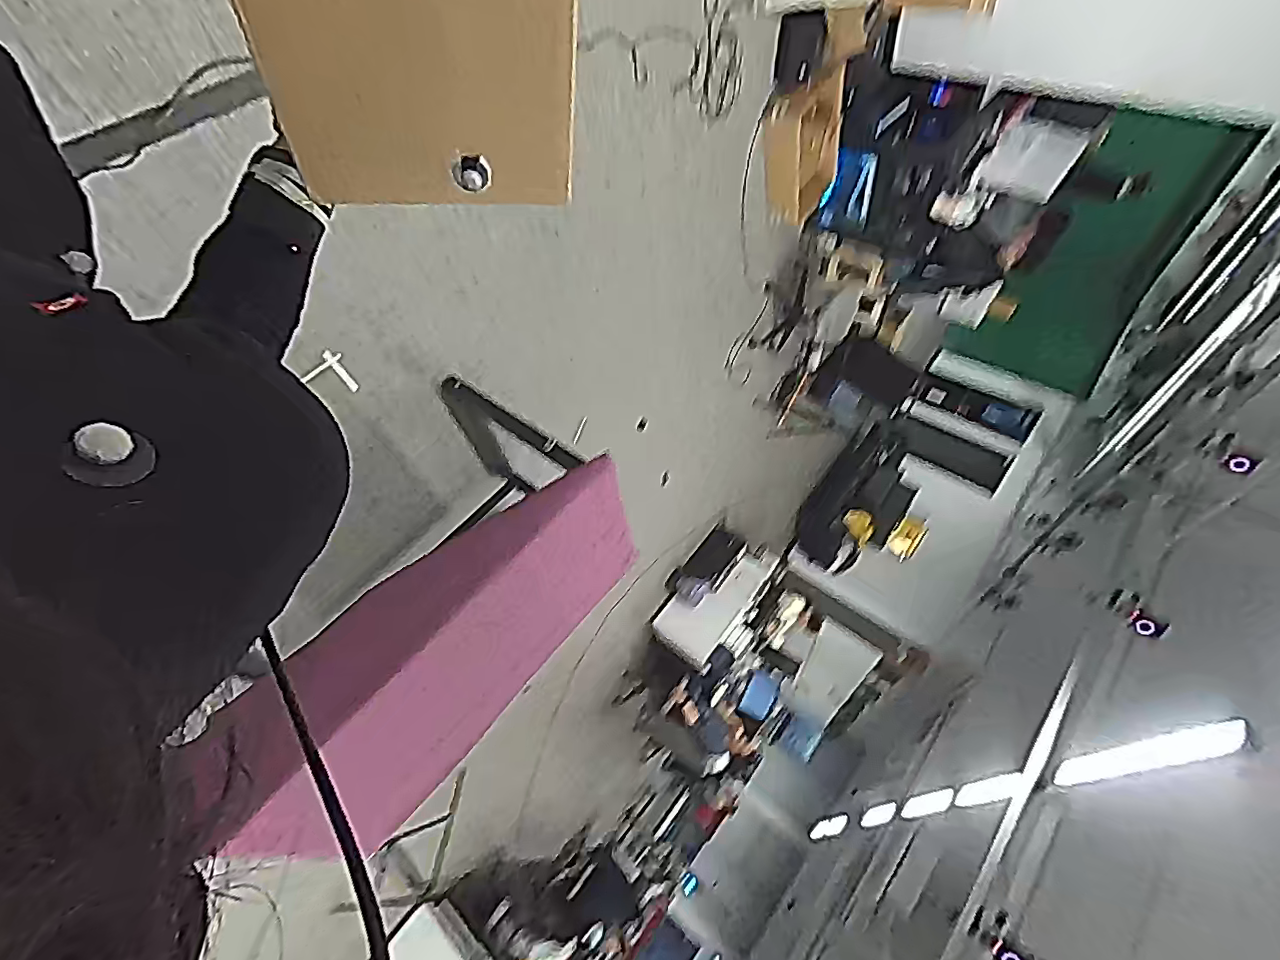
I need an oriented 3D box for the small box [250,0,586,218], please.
[{"bbox_3d":[-0.128,-0.292,0.334,0.168,0.179,0.176,-6,149,-14],"label":"small box"}]
